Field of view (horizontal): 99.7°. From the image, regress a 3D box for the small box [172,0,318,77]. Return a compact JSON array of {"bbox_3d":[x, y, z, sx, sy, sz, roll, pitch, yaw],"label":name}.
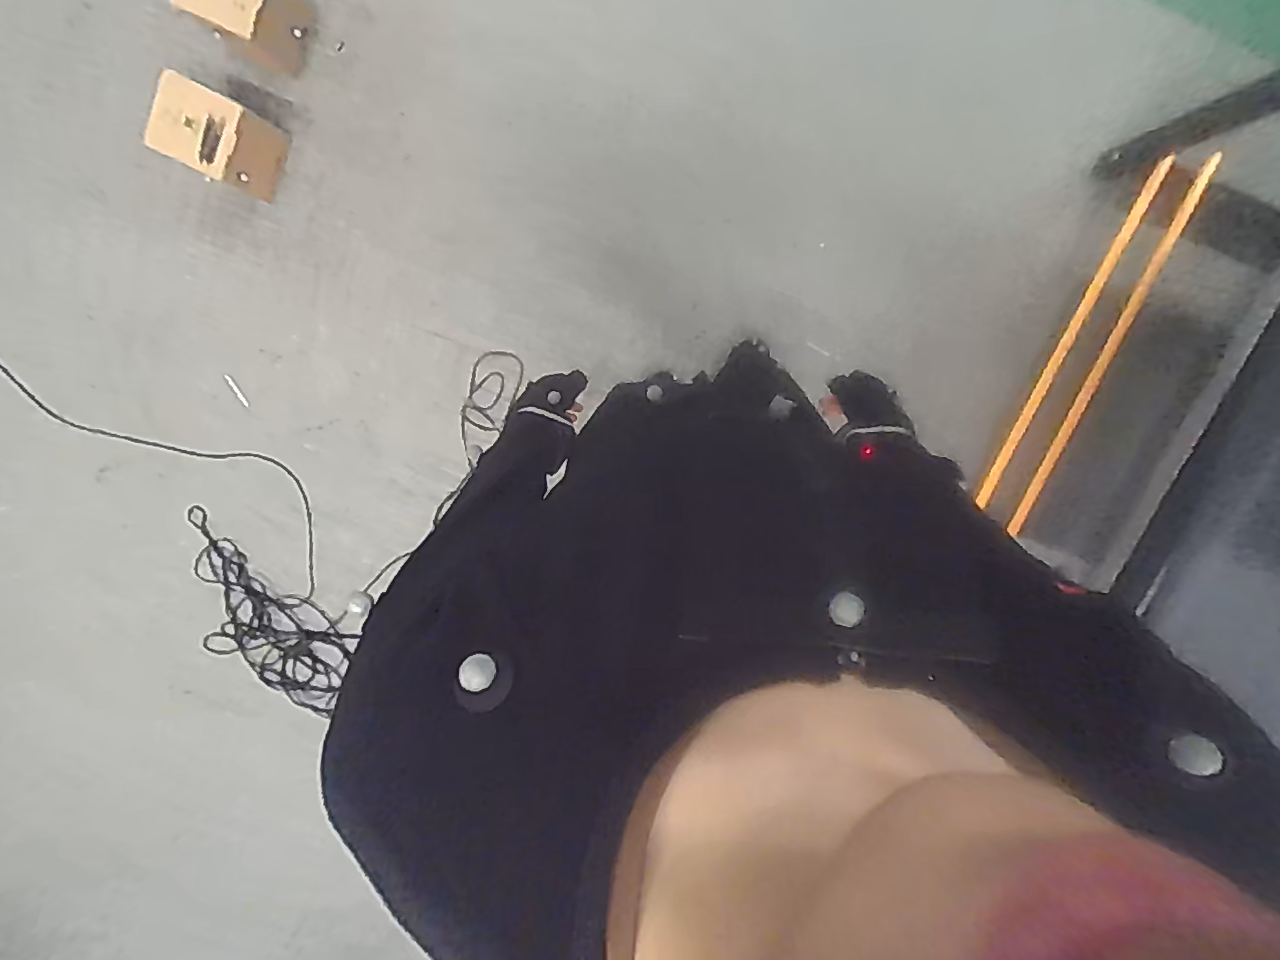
[{"bbox_3d":[-0.852,-1.034,1.181,0.179,0.176,0.168,23,101,-5],"label":"small box"}]
